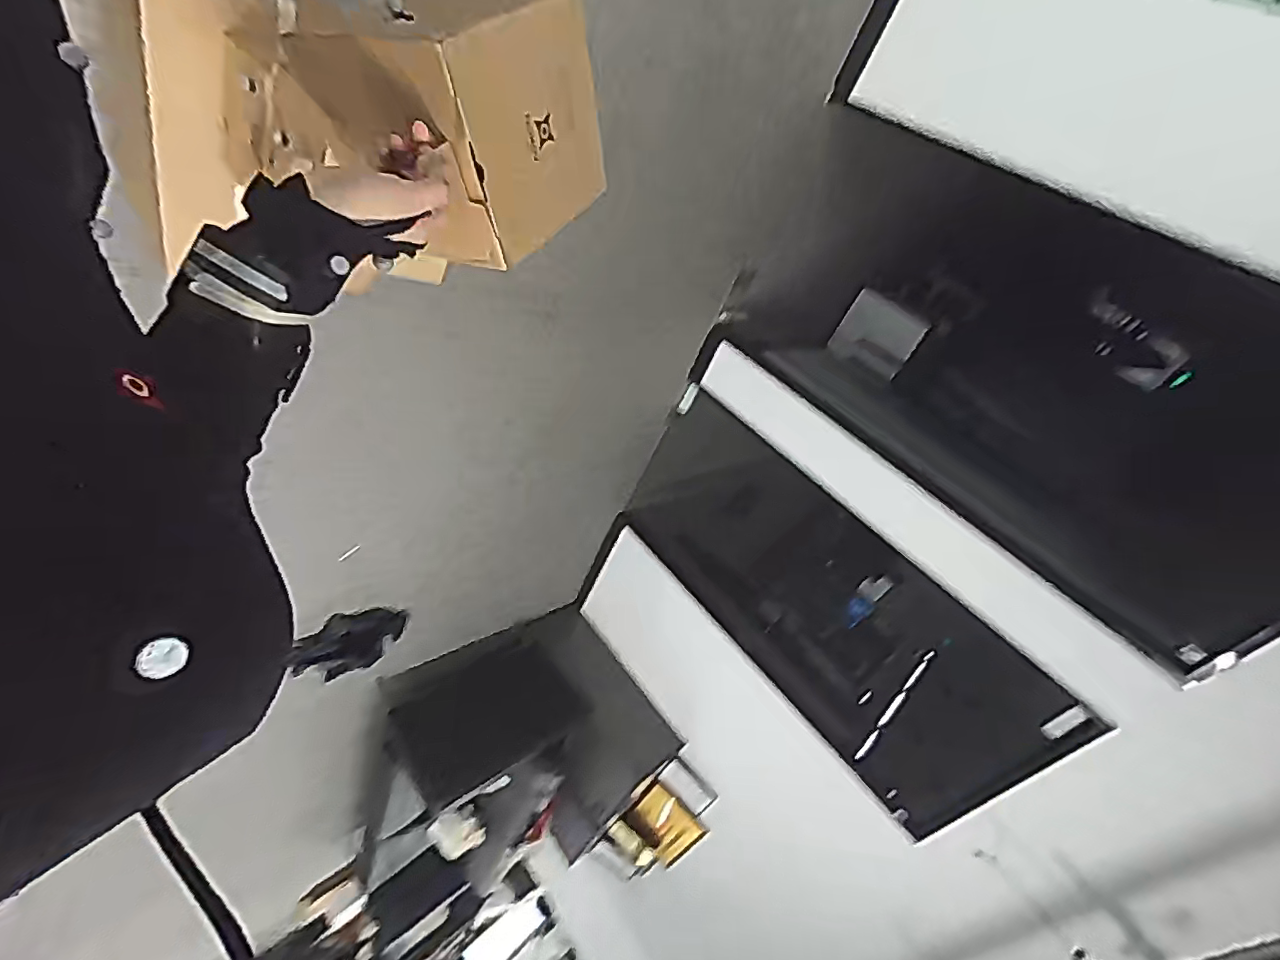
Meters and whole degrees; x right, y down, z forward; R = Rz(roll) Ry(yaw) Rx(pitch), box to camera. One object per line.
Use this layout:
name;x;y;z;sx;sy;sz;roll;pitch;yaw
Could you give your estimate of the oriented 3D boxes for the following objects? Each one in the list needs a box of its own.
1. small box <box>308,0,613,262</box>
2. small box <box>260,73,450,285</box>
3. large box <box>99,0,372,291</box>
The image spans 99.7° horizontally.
small box;-0.148;-0.322;0.476;0.179;0.176;0.168;-55;154;-30
small box;-0.355;-0.381;0.698;0.179;0.176;0.168;-9;138;-50
large box;-0.649;-0.587;0.904;0.320;0.320;0.408;-14;142;-45
